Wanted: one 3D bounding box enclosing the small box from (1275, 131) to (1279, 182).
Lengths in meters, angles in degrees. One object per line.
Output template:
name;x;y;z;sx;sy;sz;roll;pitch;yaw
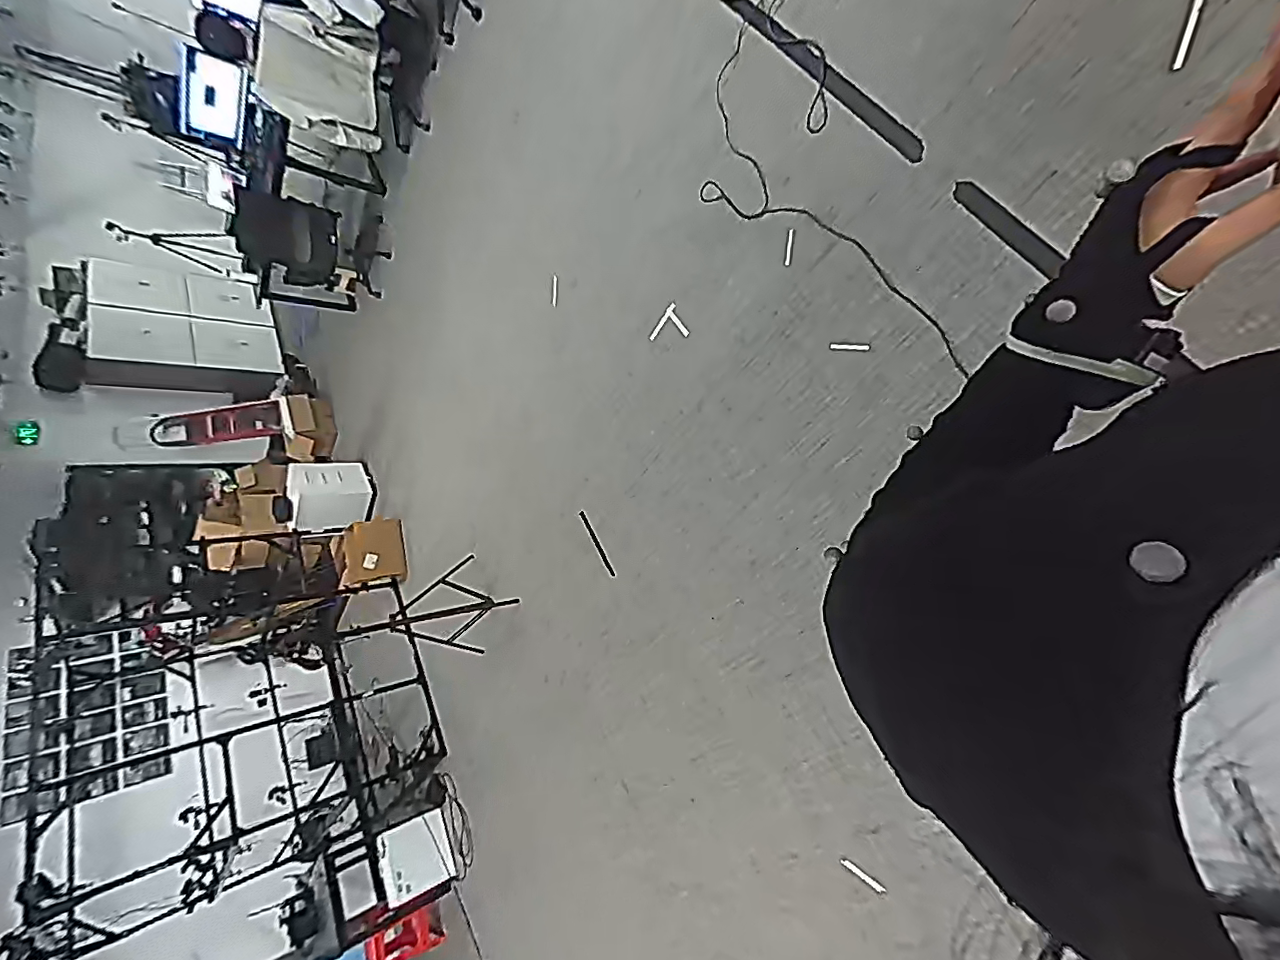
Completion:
small box;0.419;-0.243;0.232;0.179;0.176;0.168;7;106;45
